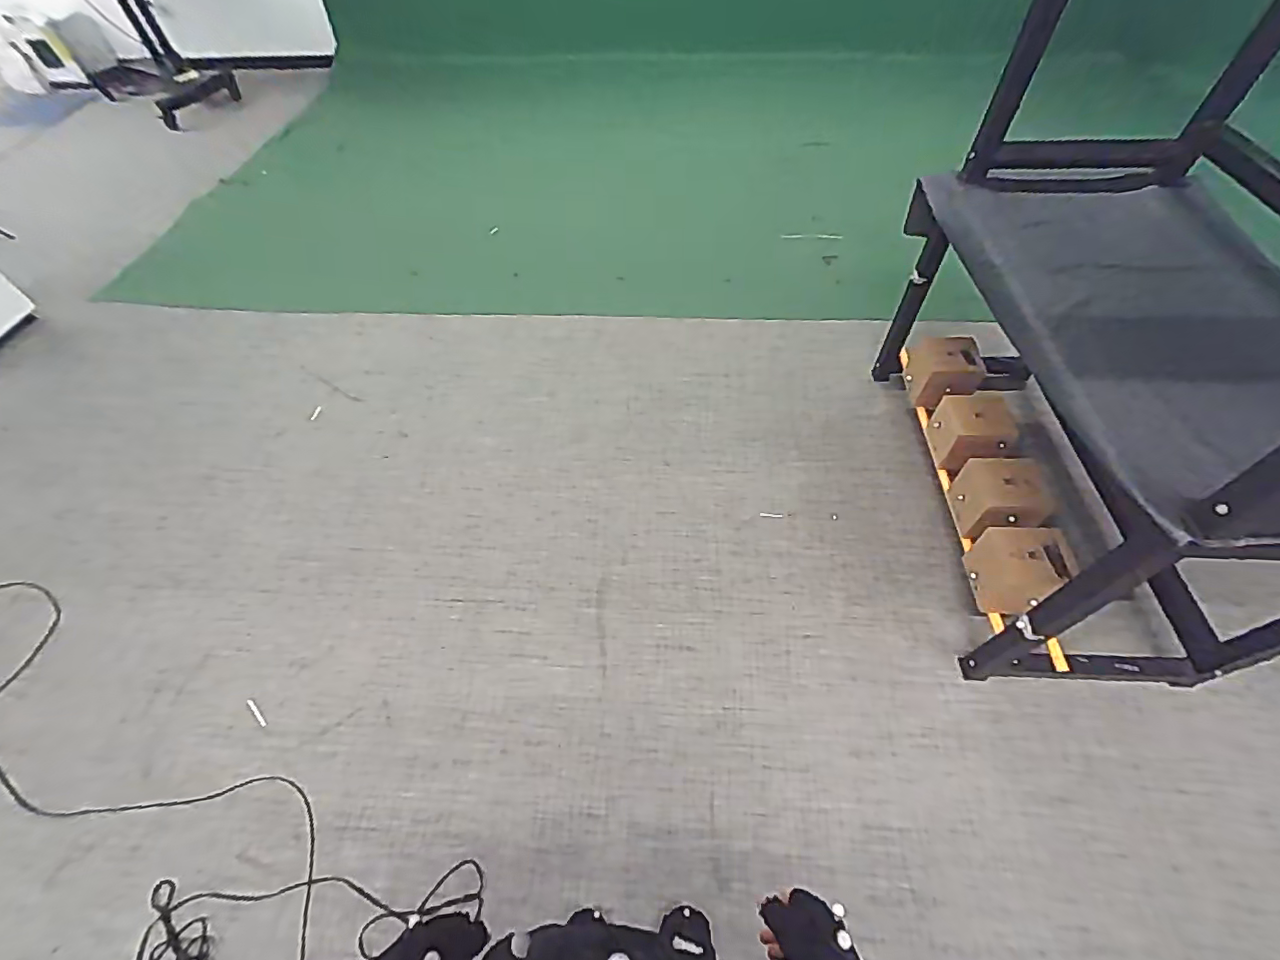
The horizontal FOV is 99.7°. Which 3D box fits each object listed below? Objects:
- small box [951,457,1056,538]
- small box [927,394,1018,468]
[{"bbox_3d":[1.003,0.052,1.519,0.179,0.176,0.168,1,54,4],"label":"small box"},{"bbox_3d":[1.011,-0.146,1.666,0.179,0.176,0.168,2,55,5],"label":"small box"}]
